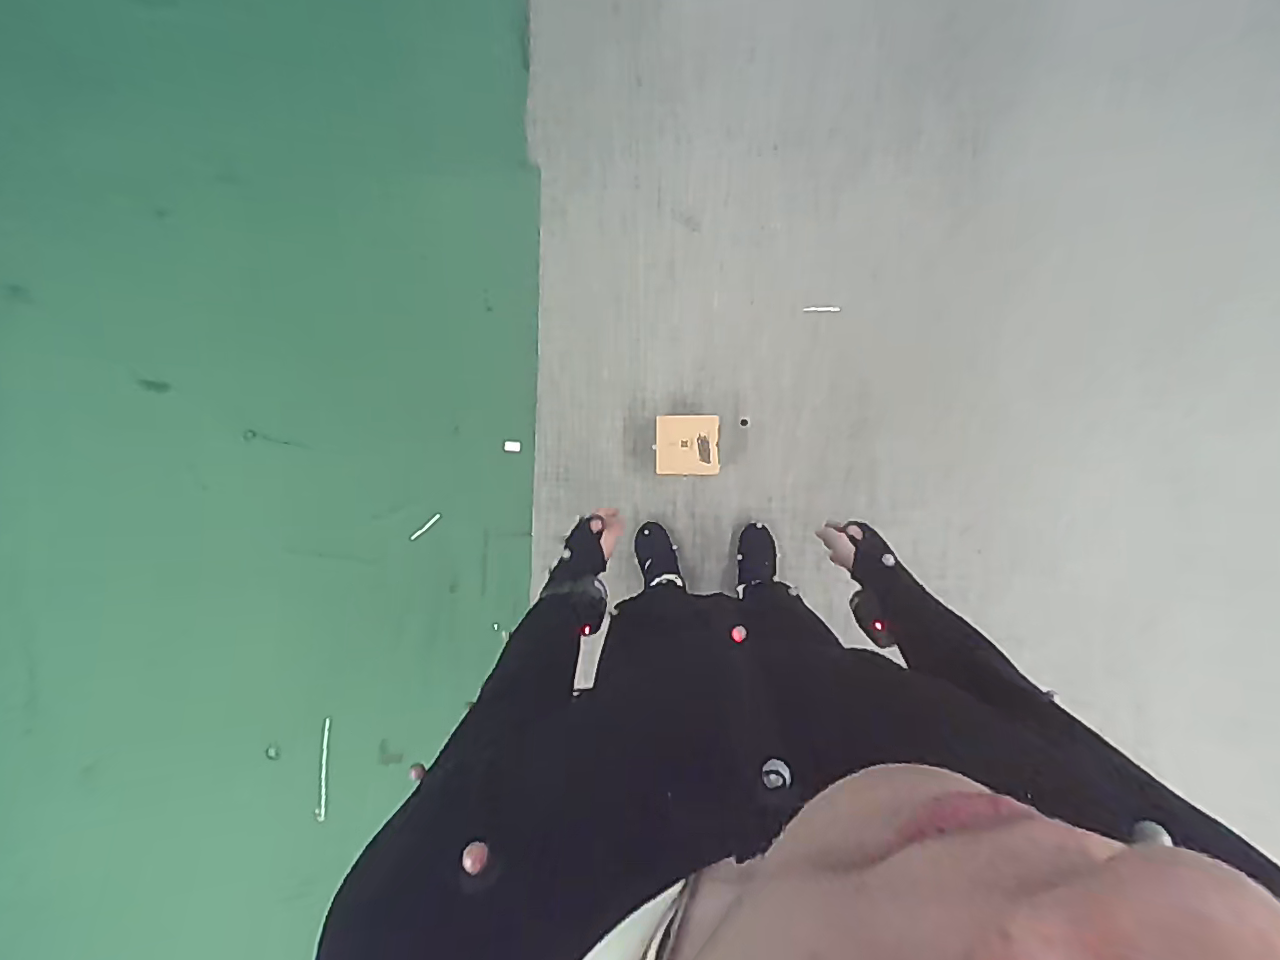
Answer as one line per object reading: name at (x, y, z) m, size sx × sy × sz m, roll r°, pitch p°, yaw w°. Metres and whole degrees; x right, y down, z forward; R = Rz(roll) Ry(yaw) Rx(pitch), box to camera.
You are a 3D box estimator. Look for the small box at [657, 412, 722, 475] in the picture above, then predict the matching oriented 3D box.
small box at (0.139, -0.101, 1.551) m, size 0.179 × 0.176 × 0.168 m, roll 1°, pitch 87°, yaw 5°
